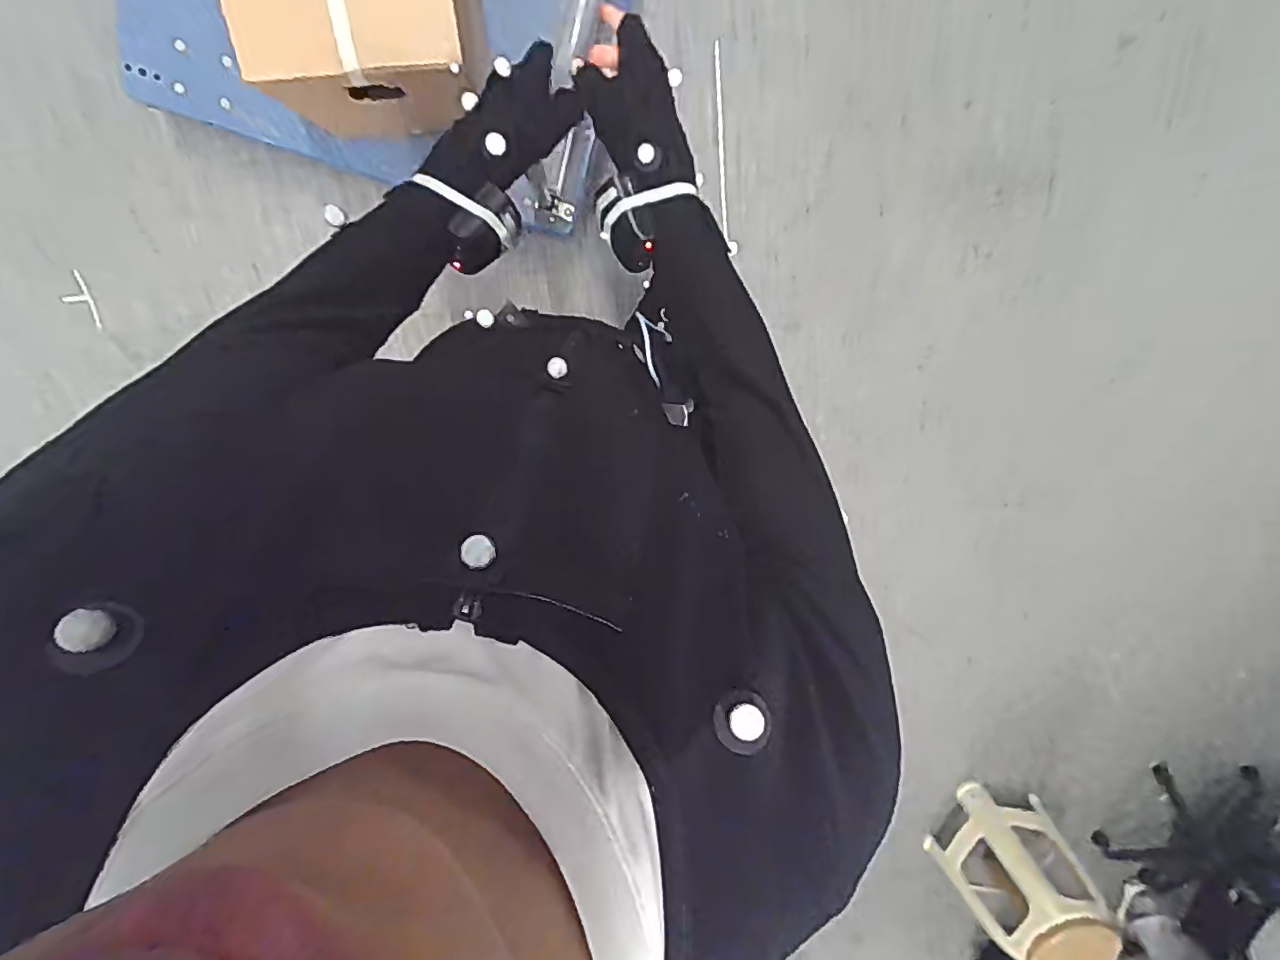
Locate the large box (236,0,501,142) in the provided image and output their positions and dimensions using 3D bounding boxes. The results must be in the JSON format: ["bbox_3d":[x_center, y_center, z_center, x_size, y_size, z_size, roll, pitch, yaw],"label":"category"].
[{"bbox_3d":[-0.431,-0.818,0.865,0.320,0.320,0.408,-6,110,-2],"label":"large box"}]
